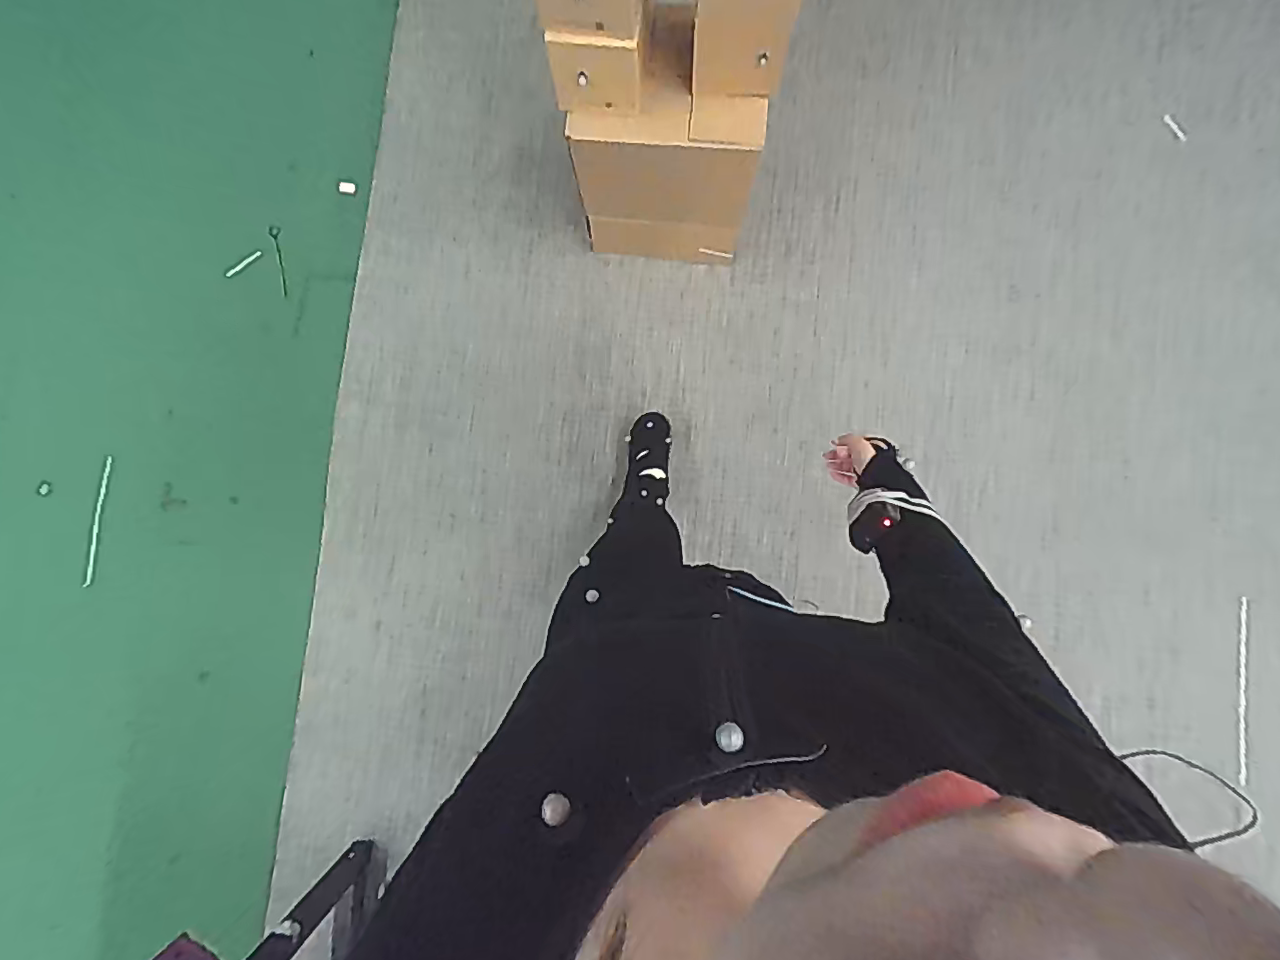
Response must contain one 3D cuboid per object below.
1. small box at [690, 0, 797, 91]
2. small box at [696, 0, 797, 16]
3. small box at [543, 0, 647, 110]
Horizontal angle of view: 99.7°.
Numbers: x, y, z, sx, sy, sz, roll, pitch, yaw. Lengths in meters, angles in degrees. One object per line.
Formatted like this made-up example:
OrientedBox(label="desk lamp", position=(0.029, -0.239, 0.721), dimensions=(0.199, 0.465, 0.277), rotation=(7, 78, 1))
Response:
OrientedBox(label="small box", position=(0.191, -0.873, 1.018), dimensions=(0.179, 0.176, 0.168), rotation=(5, 86, 3))
OrientedBox(label="small box", position=(0.188, -0.884, 0.855), dimensions=(0.179, 0.176, 0.168), rotation=(6, 86, 4))
OrientedBox(label="small box", position=(-0.077, -0.843, 1.021), dimensions=(0.168, 0.176, 0.179), rotation=(7, 86, 1))
